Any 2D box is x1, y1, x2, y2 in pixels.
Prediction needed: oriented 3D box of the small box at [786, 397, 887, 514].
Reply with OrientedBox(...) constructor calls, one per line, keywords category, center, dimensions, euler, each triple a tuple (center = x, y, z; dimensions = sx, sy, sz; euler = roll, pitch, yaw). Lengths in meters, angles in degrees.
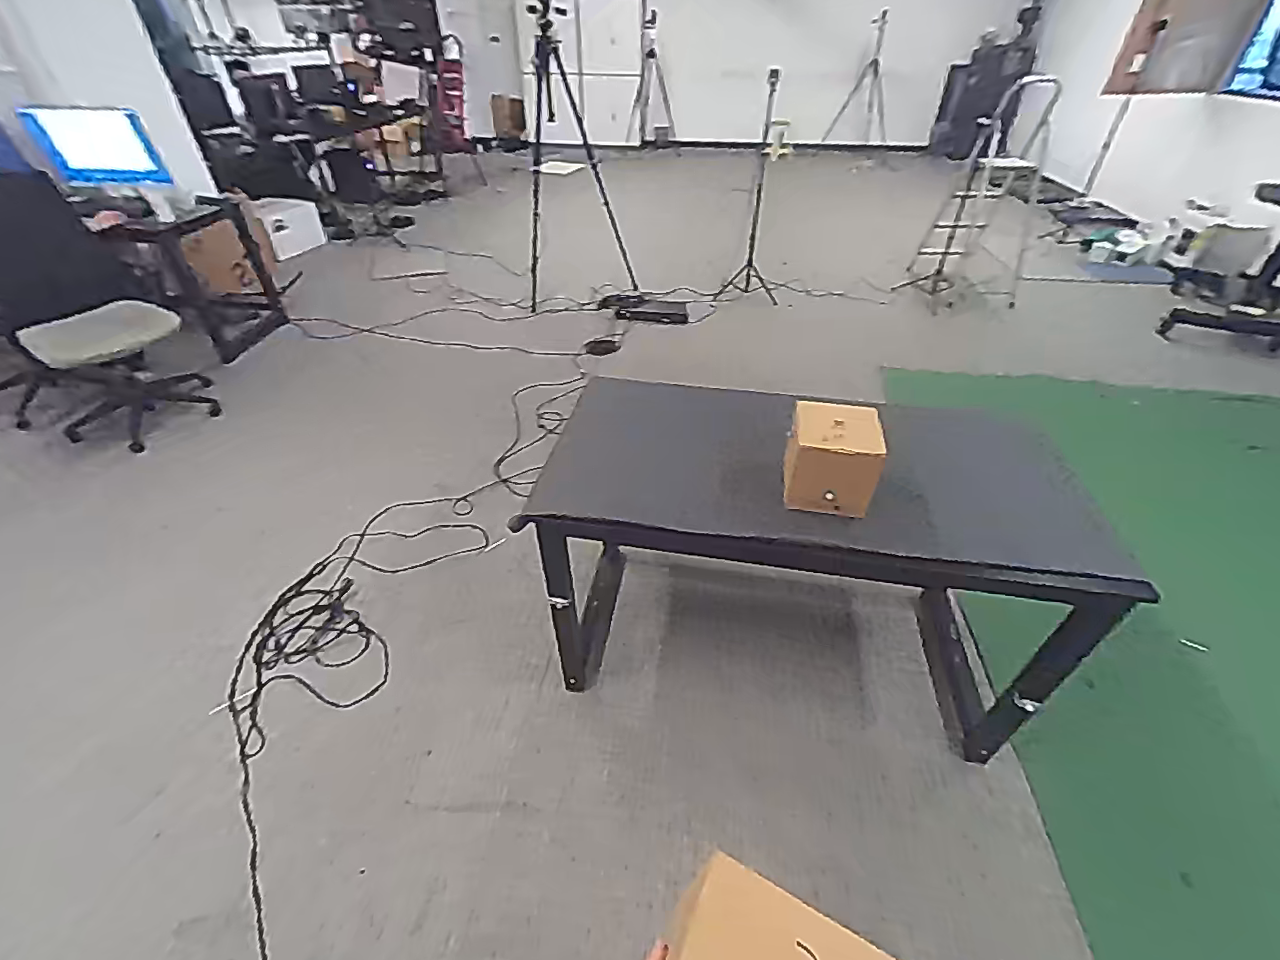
OrientedBox(category="small box", center=(0.407, -0.055, 1.151), dimensions=(0.168, 0.176, 0.179), euler=(7, 40, 9))
